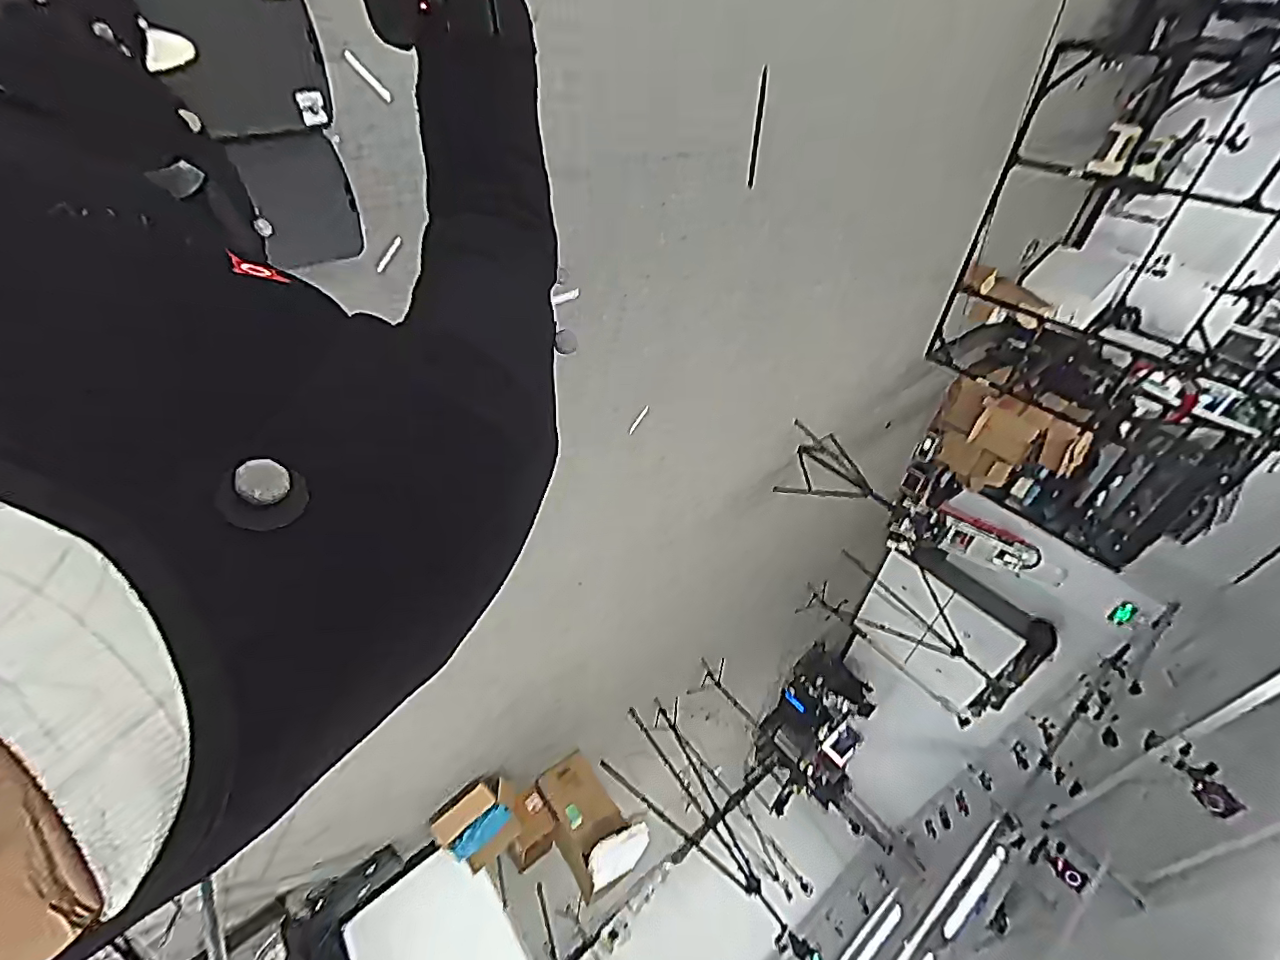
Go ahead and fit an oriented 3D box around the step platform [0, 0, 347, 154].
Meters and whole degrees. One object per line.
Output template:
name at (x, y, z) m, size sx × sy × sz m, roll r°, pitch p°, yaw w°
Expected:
step platform at (-0.908, -0.779, 0.951) m, size 0.684 × 0.204 × 0.286 m, roll -29°, pitch 141°, yaw -28°
